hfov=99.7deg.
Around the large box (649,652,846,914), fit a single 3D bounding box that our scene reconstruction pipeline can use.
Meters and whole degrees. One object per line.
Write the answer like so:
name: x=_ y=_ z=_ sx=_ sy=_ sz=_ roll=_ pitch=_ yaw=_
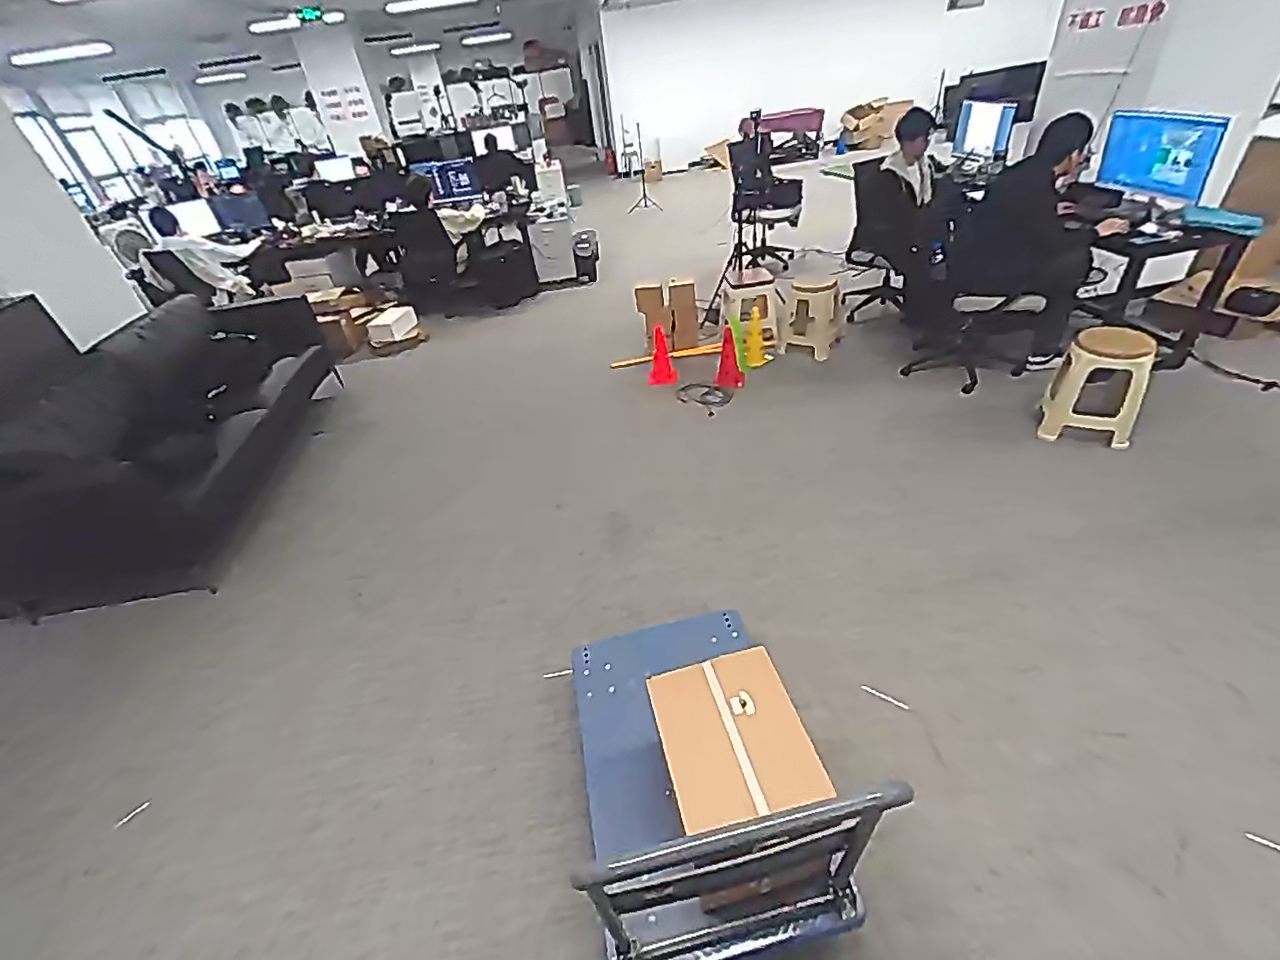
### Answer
large box: x=0.235 y=0.699 z=1.281 sx=0.320 sy=0.320 sz=0.408 roll=-13 pitch=36 yaw=-6
